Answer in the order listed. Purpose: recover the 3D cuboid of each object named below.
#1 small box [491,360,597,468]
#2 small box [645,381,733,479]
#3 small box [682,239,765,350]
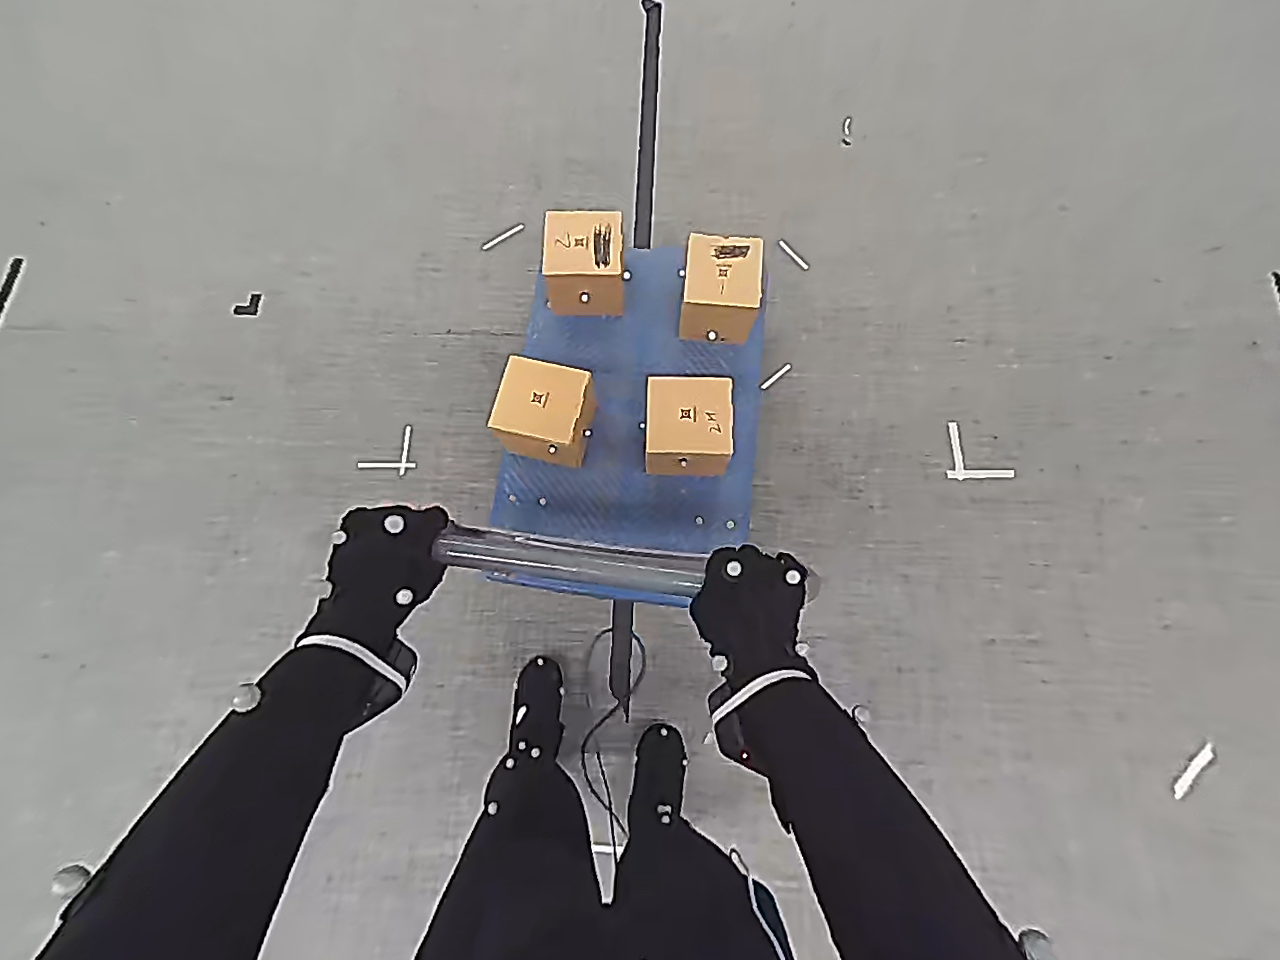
[{"bbox_3d":[-0.201,-0.138,1.186,0.179,0.176,0.168,13,75,3],"label":"small box"},{"bbox_3d":[0.103,-0.102,1.172,0.179,0.176,0.168,2,75,1],"label":"small box"},{"bbox_3d":[0.188,-0.426,1.257,0.168,0.176,0.179,6,76,2],"label":"small box"}]
